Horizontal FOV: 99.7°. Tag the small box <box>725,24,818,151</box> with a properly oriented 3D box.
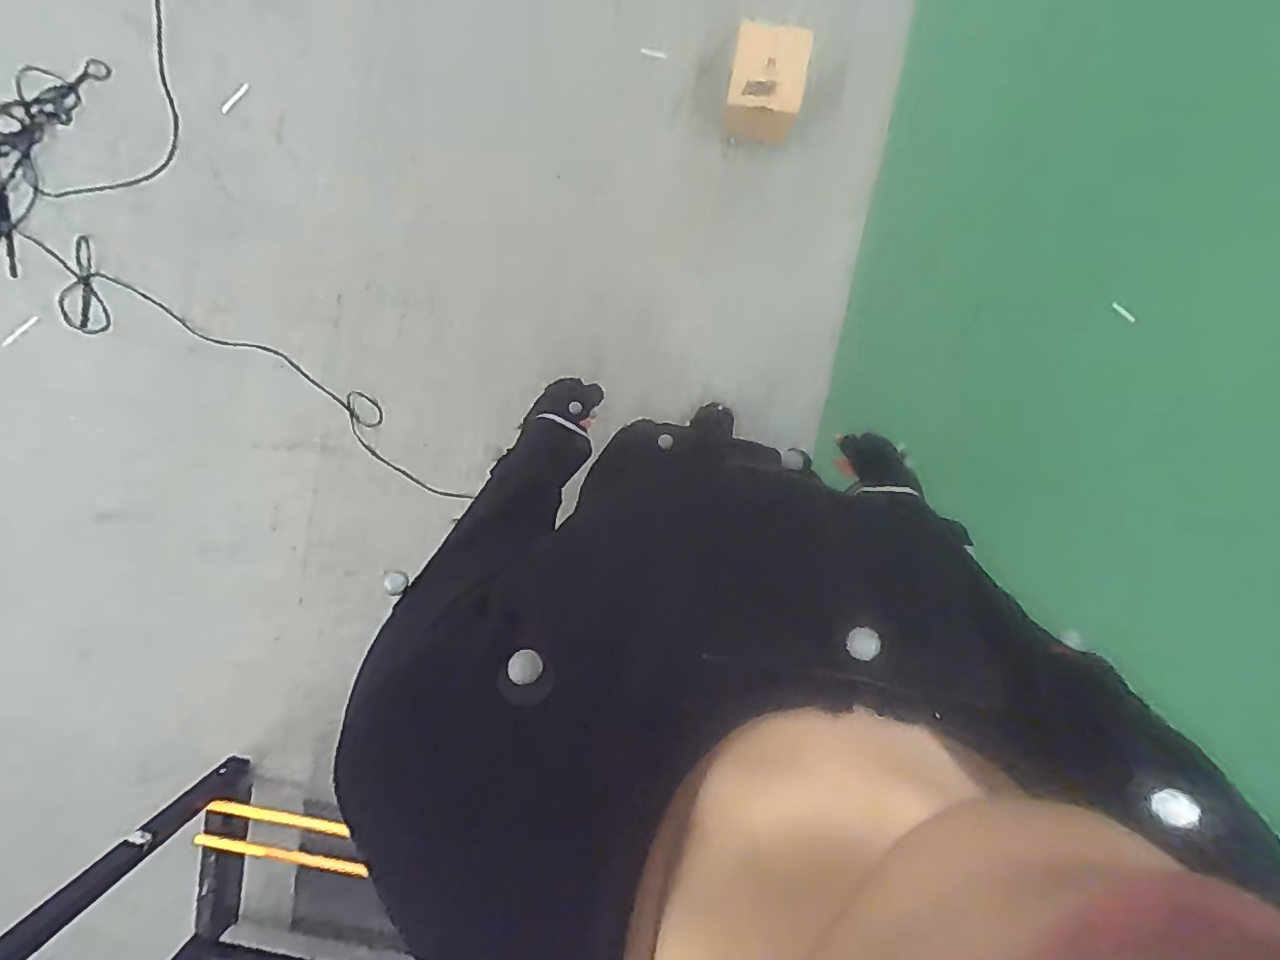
[{"bbox_3d":[0.300,-0.914,1.276,0.168,0.176,0.179,10,96,1],"label":"small box"}]
